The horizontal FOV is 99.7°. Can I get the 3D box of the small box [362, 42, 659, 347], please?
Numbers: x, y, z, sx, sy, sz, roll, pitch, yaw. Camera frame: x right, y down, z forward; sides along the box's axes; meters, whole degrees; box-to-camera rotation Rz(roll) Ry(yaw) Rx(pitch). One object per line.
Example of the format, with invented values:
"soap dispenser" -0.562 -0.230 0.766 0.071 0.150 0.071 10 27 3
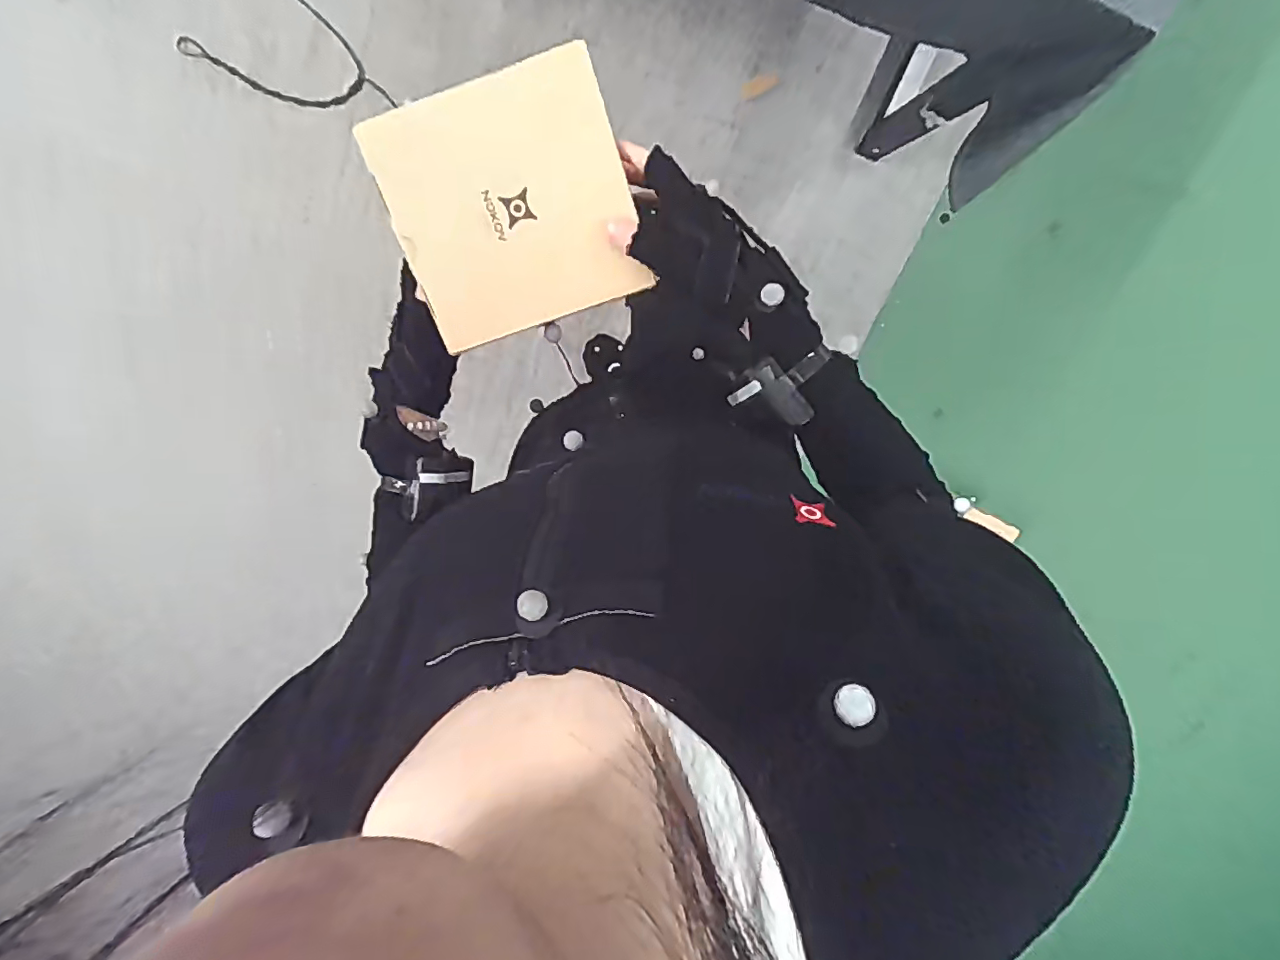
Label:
"small box" -0.094 -0.230 0.473 0.179 0.176 0.168 -17 109 4
